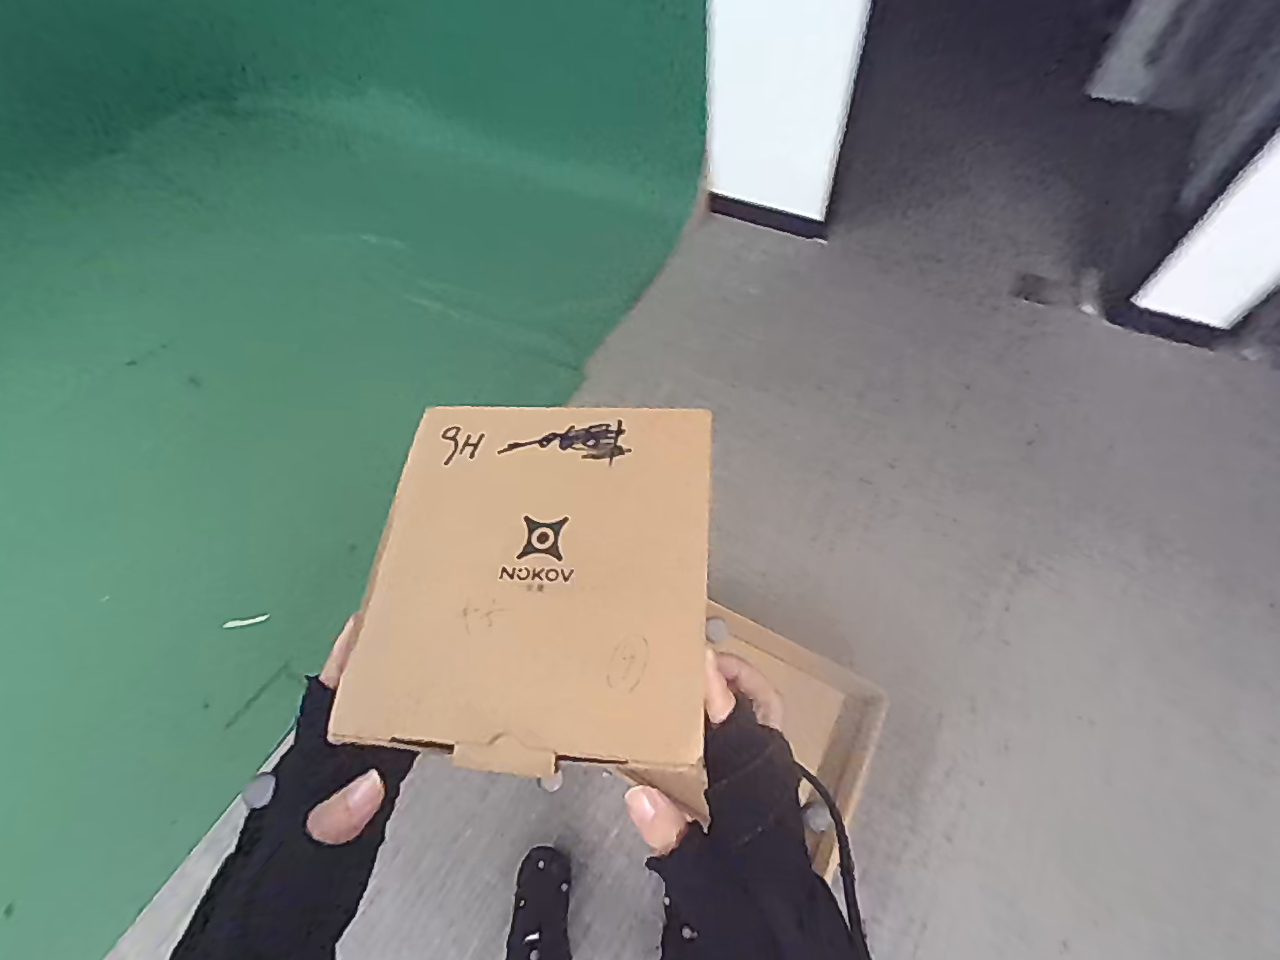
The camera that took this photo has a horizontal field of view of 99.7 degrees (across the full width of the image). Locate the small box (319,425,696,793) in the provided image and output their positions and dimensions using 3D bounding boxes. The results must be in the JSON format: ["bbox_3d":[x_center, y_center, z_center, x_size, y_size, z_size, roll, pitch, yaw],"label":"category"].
[{"bbox_3d":[-0.050,0.082,0.338,0.168,0.176,0.179,1,64,7],"label":"small box"}]
